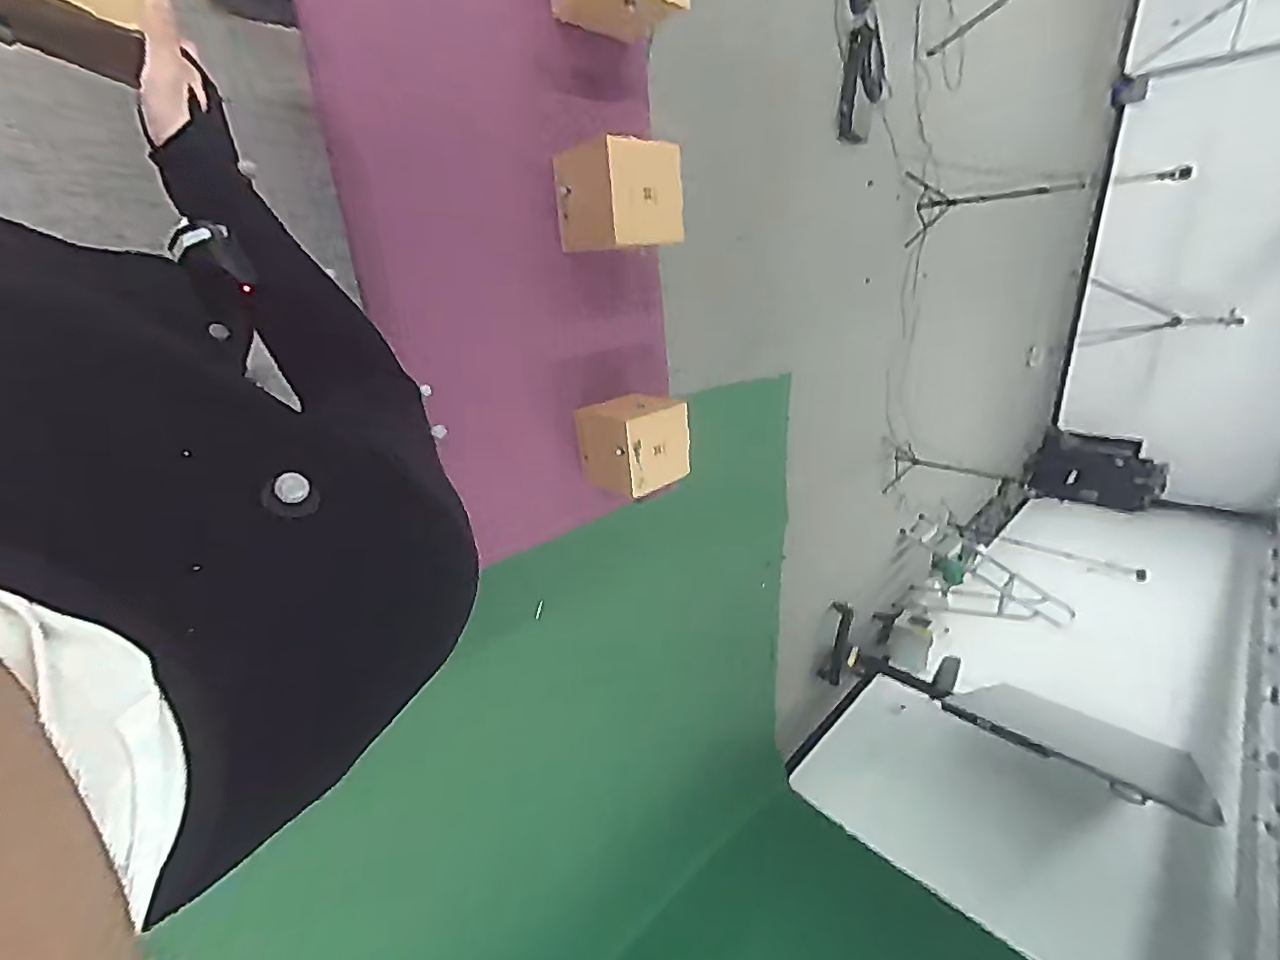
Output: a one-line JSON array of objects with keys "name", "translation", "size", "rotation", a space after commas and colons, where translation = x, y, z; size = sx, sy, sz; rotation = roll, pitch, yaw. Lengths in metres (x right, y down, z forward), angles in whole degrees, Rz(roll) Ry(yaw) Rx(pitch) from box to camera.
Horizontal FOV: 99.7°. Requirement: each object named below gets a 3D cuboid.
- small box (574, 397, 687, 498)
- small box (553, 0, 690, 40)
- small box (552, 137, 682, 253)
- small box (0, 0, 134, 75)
[{"name": "small box", "translation": [-0.019, -0.080, 1.175], "size": [0.179, 0.176, 0.168], "rotation": [-23, 117, -38]}, {"name": "small box", "translation": [-0.036, -0.873, 0.899], "size": [0.179, 0.176, 0.168], "rotation": [-19, 116, -39]}, {"name": "small box", "translation": [-0.042, -0.523, 1.013], "size": [0.179, 0.176, 0.168], "rotation": [-21, 116, -38]}, {"name": "small box", "translation": [-0.488, -0.455, 0.402], "size": [0.168, 0.176, 0.179], "rotation": [2, 103, -44]}]
